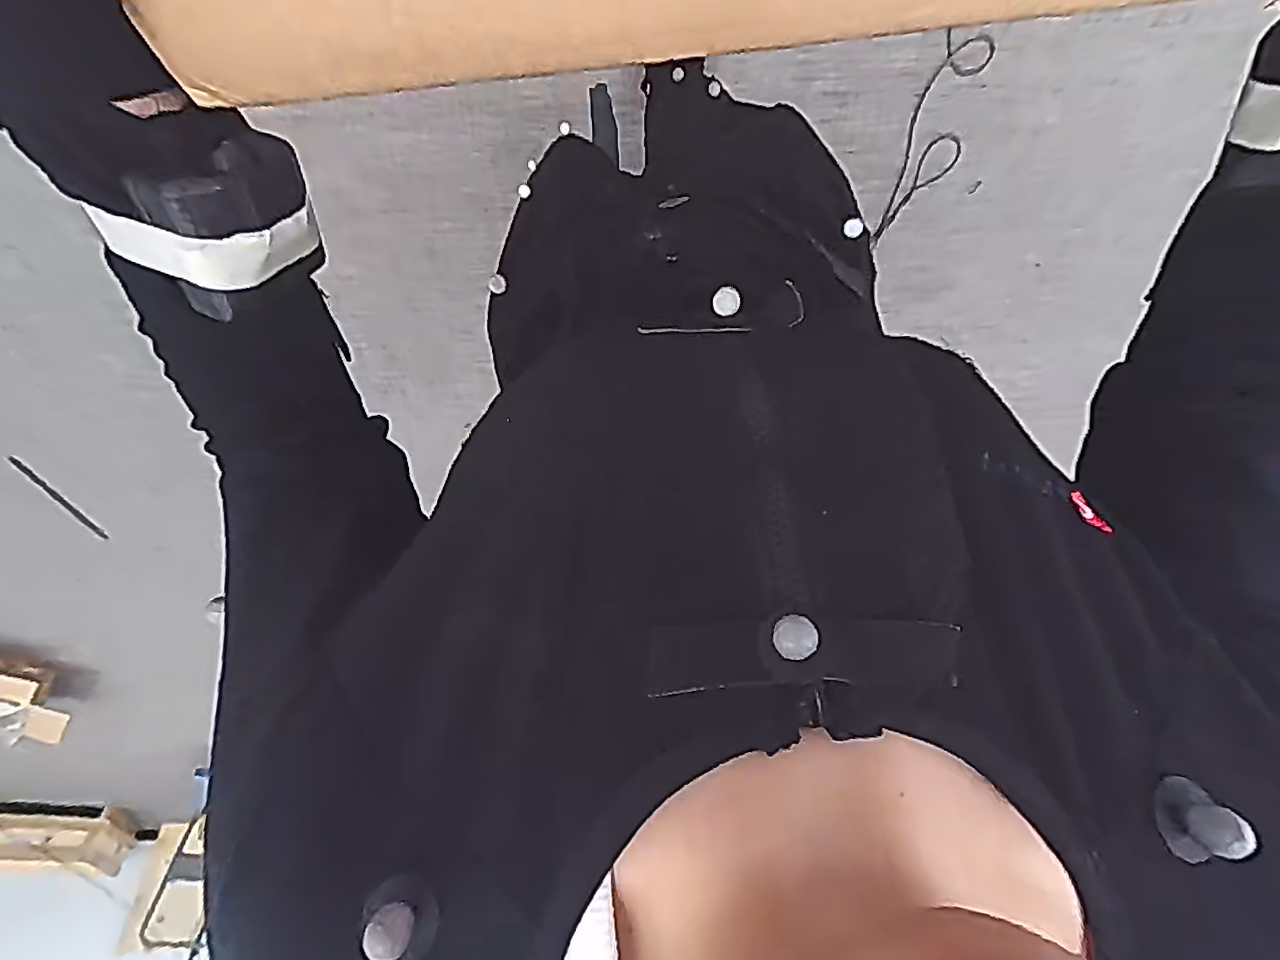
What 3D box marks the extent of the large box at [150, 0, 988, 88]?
[{"bbox_3d":[0.016,-0.369,0.138,0.408,0.320,0.320,-5,149,2],"label":"large box"}]
